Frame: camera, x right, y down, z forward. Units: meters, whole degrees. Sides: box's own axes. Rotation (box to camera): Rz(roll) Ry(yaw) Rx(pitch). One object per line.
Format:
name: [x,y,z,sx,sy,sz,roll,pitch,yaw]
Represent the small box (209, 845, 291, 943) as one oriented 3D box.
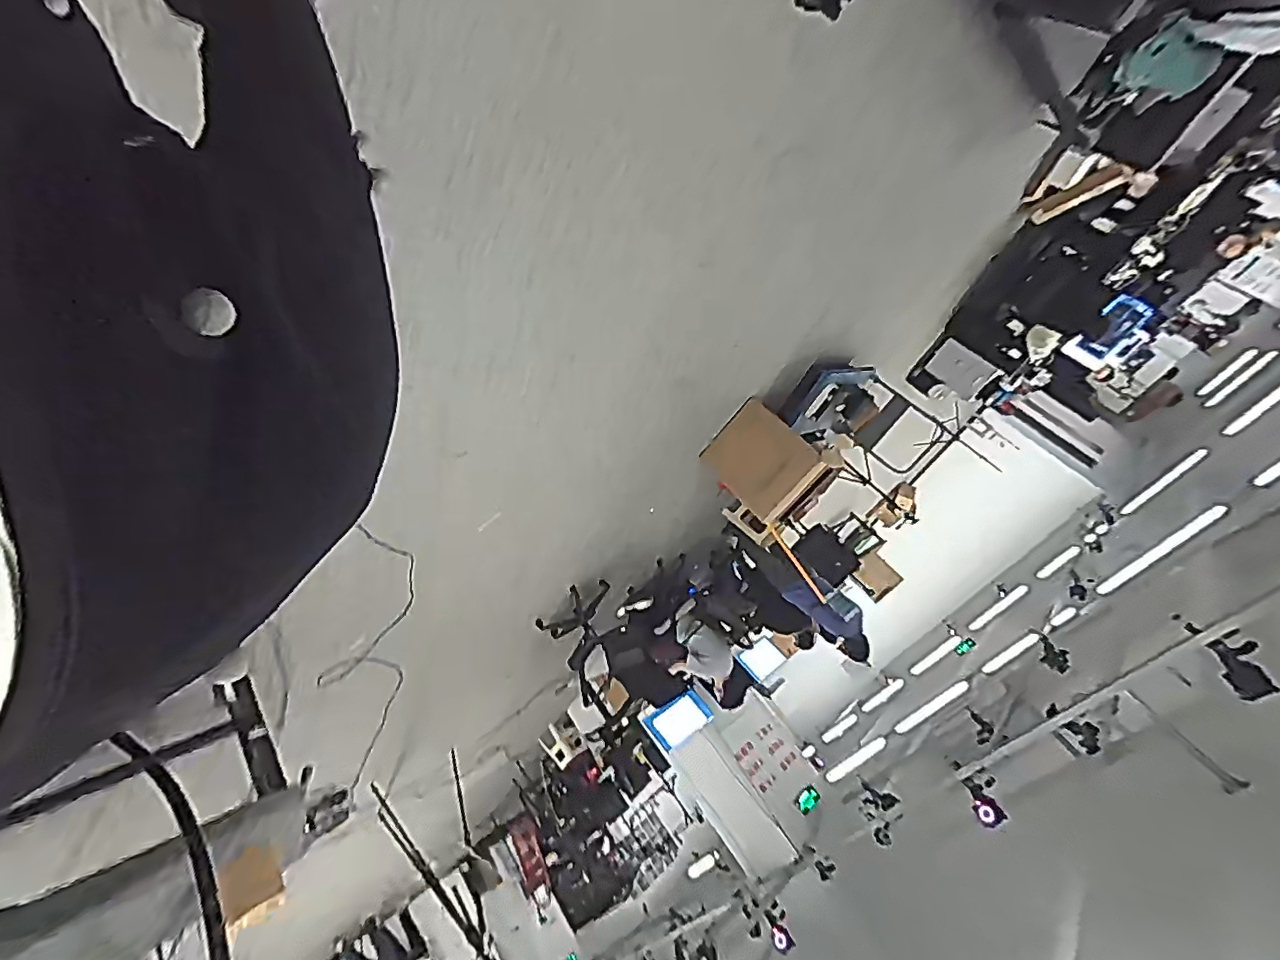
small box: [-1.258,1.331,1.748,0.179,0.176,0.168,-16,144,-42]
